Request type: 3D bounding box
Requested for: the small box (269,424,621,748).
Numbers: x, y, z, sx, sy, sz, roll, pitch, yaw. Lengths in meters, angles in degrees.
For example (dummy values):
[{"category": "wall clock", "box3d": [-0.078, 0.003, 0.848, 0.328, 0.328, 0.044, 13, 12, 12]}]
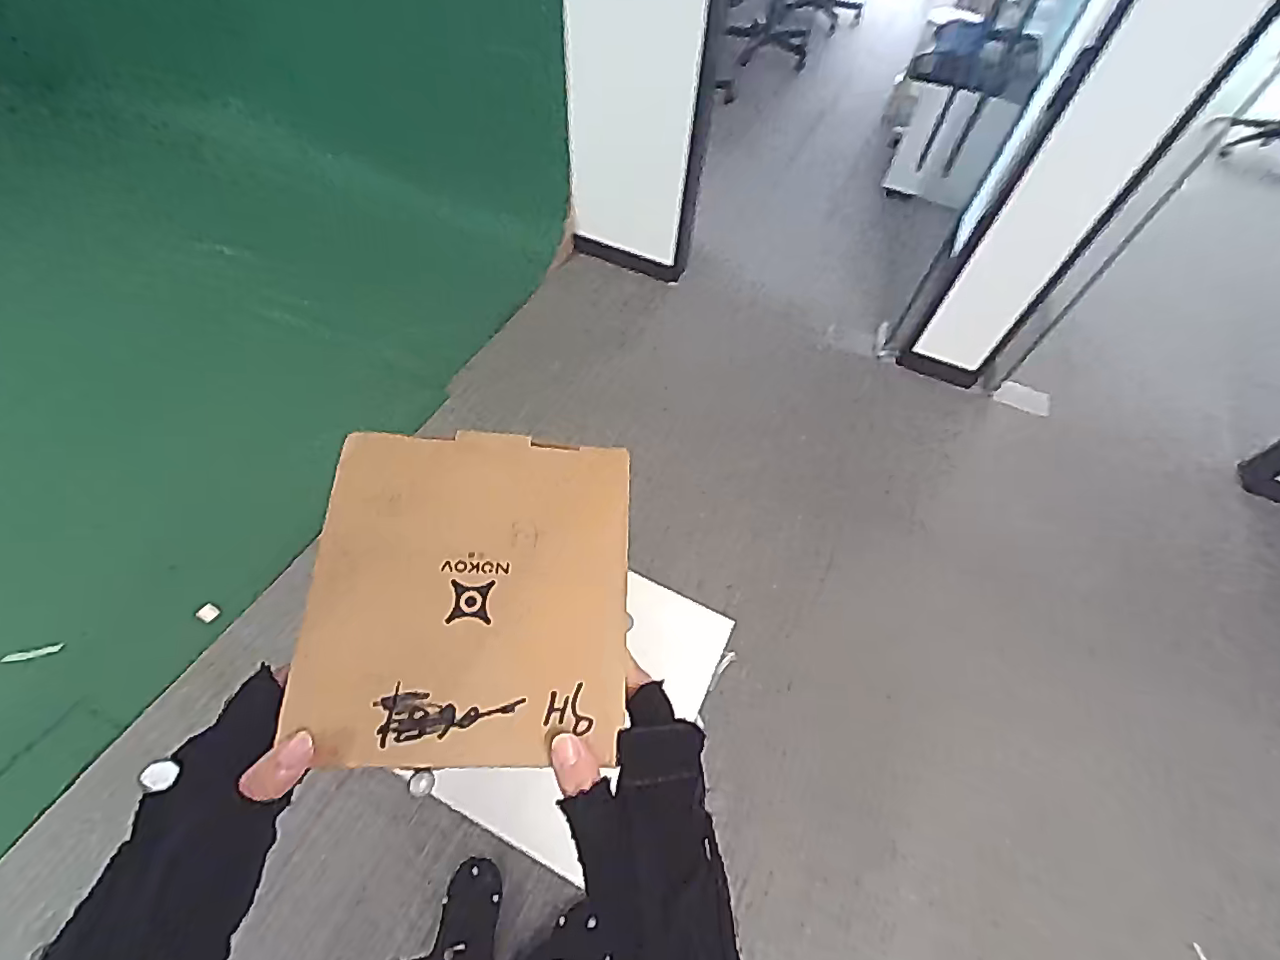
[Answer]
[{"category": "small box", "box3d": [-0.104, 0.081, 0.368, 0.168, 0.176, 0.179, 2, 67, -6]}]
